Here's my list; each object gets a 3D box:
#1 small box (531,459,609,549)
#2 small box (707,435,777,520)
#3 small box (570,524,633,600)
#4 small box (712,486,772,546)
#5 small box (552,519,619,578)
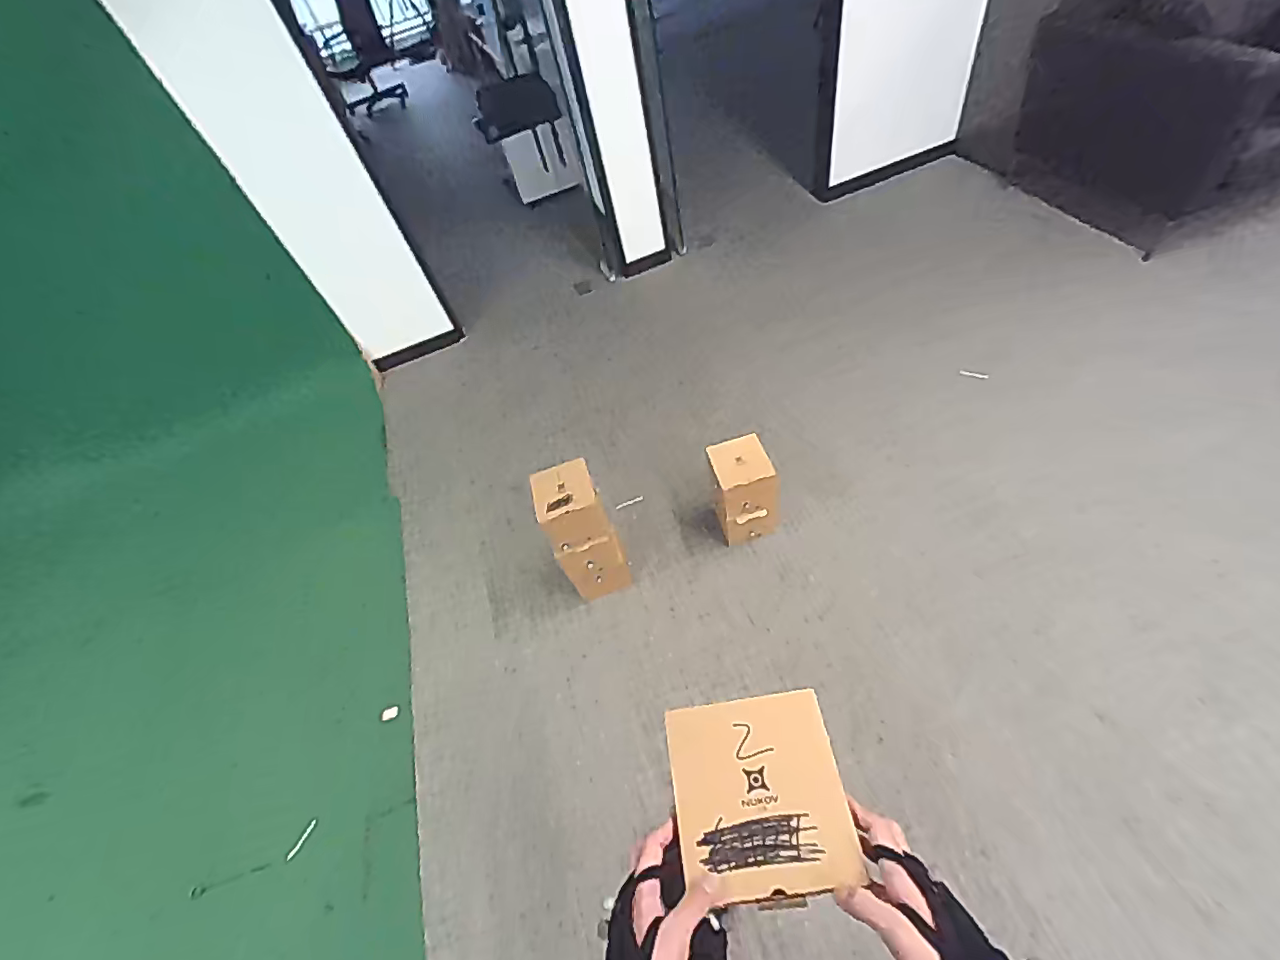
[{"bbox_3d":[-0.196,0.076,1.540,0.168,0.176,0.179,-19,51,-1],"label":"small box"},{"bbox_3d":[0.316,-0.006,1.689,0.168,0.176,0.179,-17,52,0],"label":"small box"},{"bbox_3d":[-0.137,0.276,1.793,0.179,0.176,0.168,-17,52,0],"label":"small box"},{"bbox_3d":[0.341,0.095,1.812,0.168,0.176,0.179,-14,52,6],"label":"small box"},{"bbox_3d":[-0.172,0.183,1.663,0.168,0.176,0.179,-18,53,0],"label":"small box"}]
